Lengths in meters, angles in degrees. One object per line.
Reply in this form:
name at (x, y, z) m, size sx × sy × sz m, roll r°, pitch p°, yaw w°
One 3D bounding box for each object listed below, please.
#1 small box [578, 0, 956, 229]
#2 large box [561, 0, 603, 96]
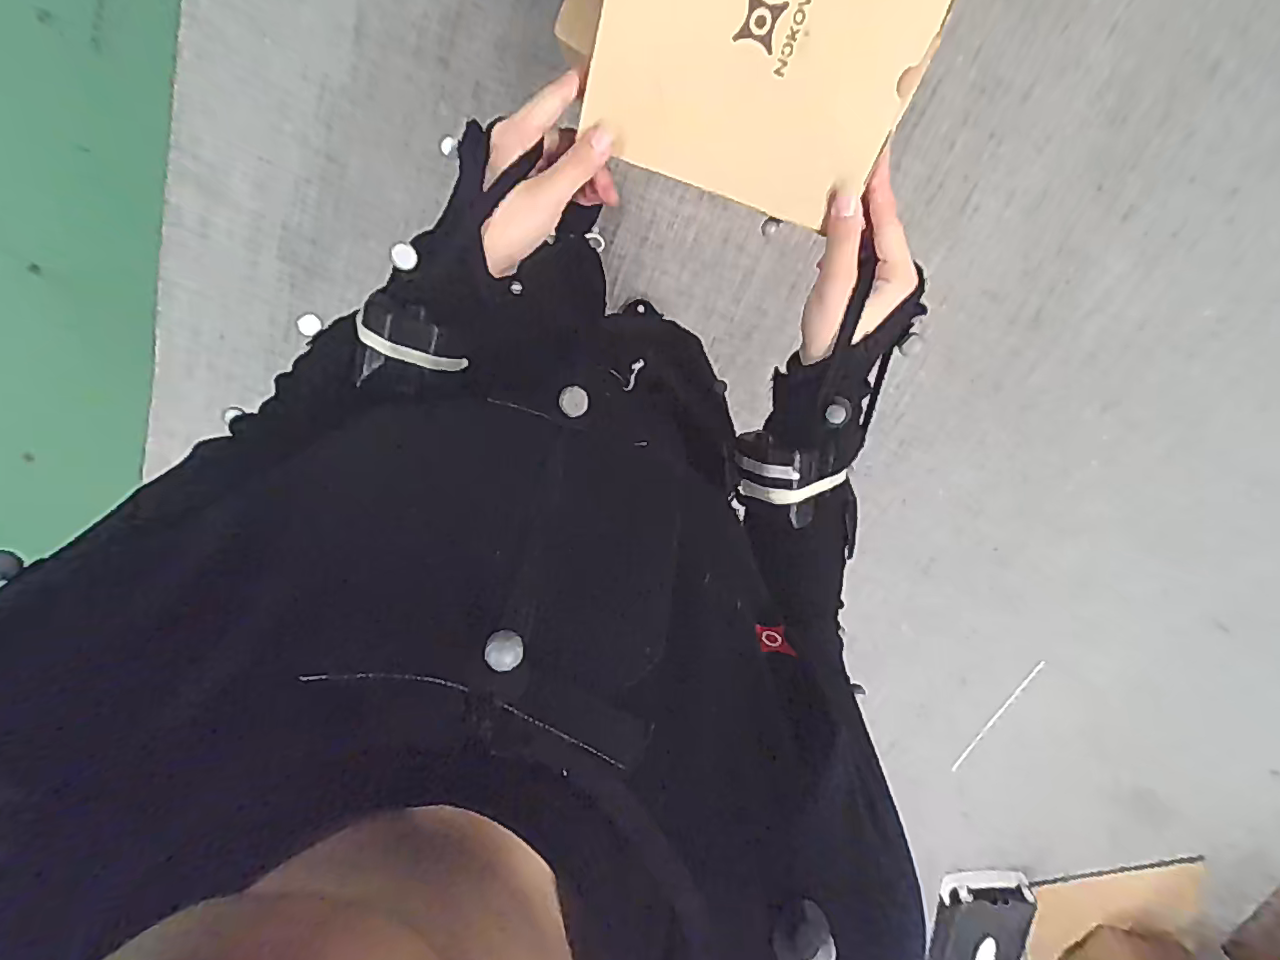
small box at (0.074, -0.285, 0.351) m, size 0.179 × 0.176 × 0.168 m, roll 16°, pitch 123°, yaw -7°
large box at (0.119, -0.764, 0.932) m, size 0.408 × 0.320 × 0.320 m, roll 26°, pitch 111°, yaw -11°
